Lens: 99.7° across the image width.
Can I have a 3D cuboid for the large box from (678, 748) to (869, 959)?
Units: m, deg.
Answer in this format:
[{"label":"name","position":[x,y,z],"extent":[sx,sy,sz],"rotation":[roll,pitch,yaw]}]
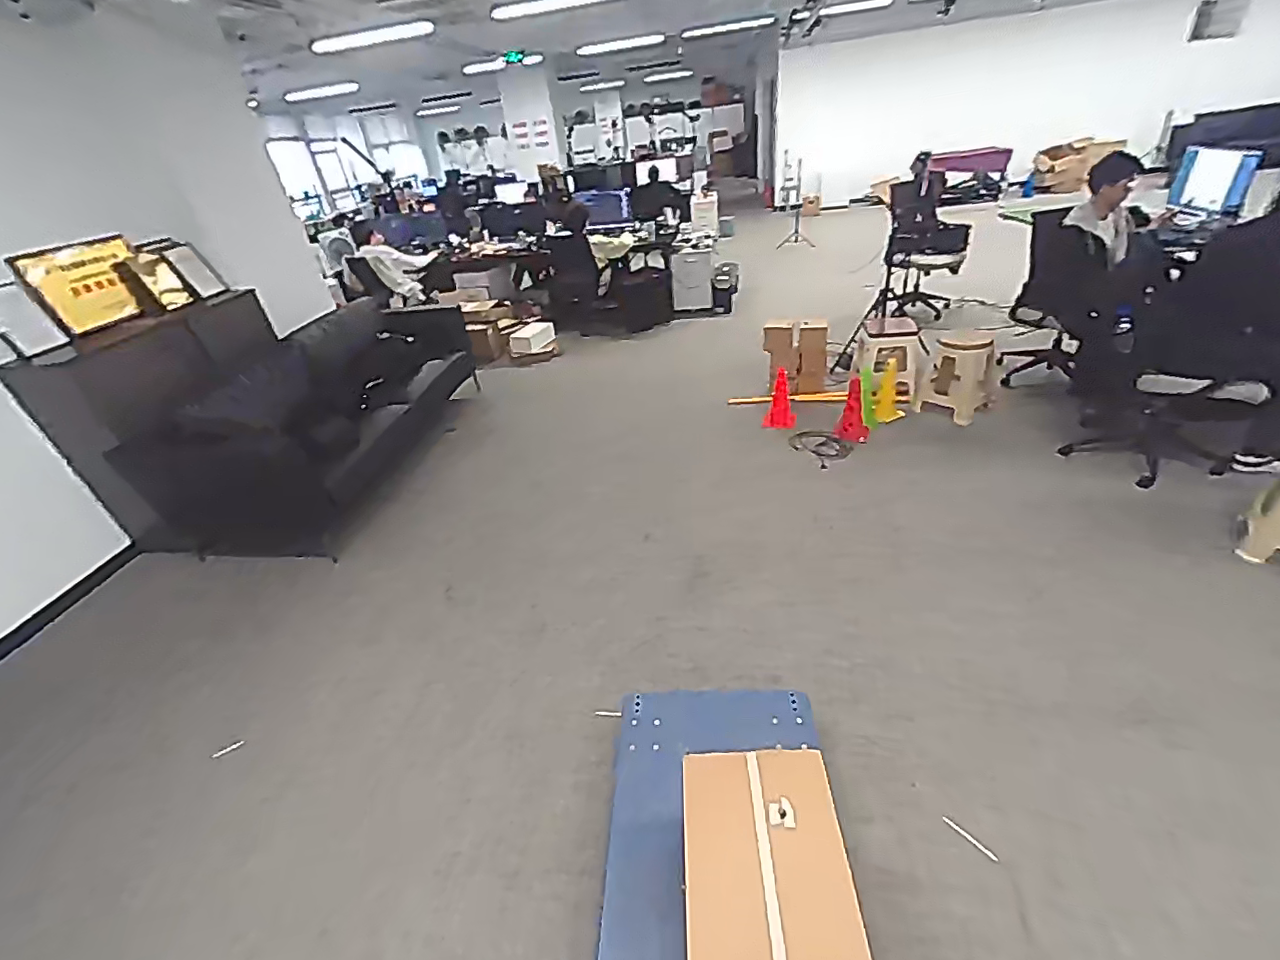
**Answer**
[{"label":"large box","position":[0.252,0.846,1.140],"extent":[0.320,0.320,0.408],"rotation":[-4,33,5]}]
